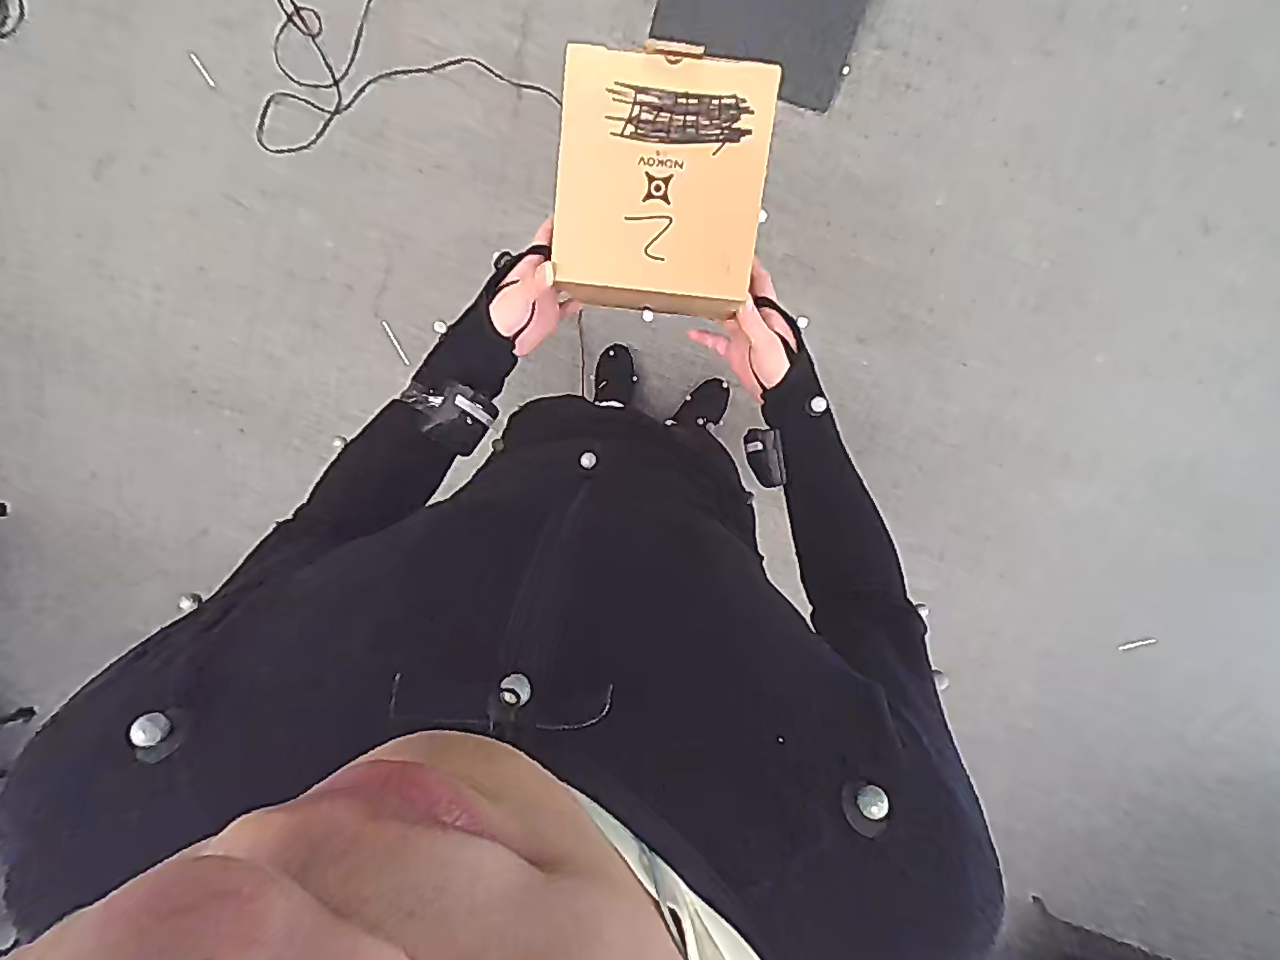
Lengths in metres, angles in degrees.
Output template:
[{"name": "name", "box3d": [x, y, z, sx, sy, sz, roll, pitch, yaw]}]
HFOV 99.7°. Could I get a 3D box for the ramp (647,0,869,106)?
[{"name": "ramp", "box3d": [0.385, -1.437, 1.151, 0.509, 0.206, 0.991, 17, 106, 1]}]
